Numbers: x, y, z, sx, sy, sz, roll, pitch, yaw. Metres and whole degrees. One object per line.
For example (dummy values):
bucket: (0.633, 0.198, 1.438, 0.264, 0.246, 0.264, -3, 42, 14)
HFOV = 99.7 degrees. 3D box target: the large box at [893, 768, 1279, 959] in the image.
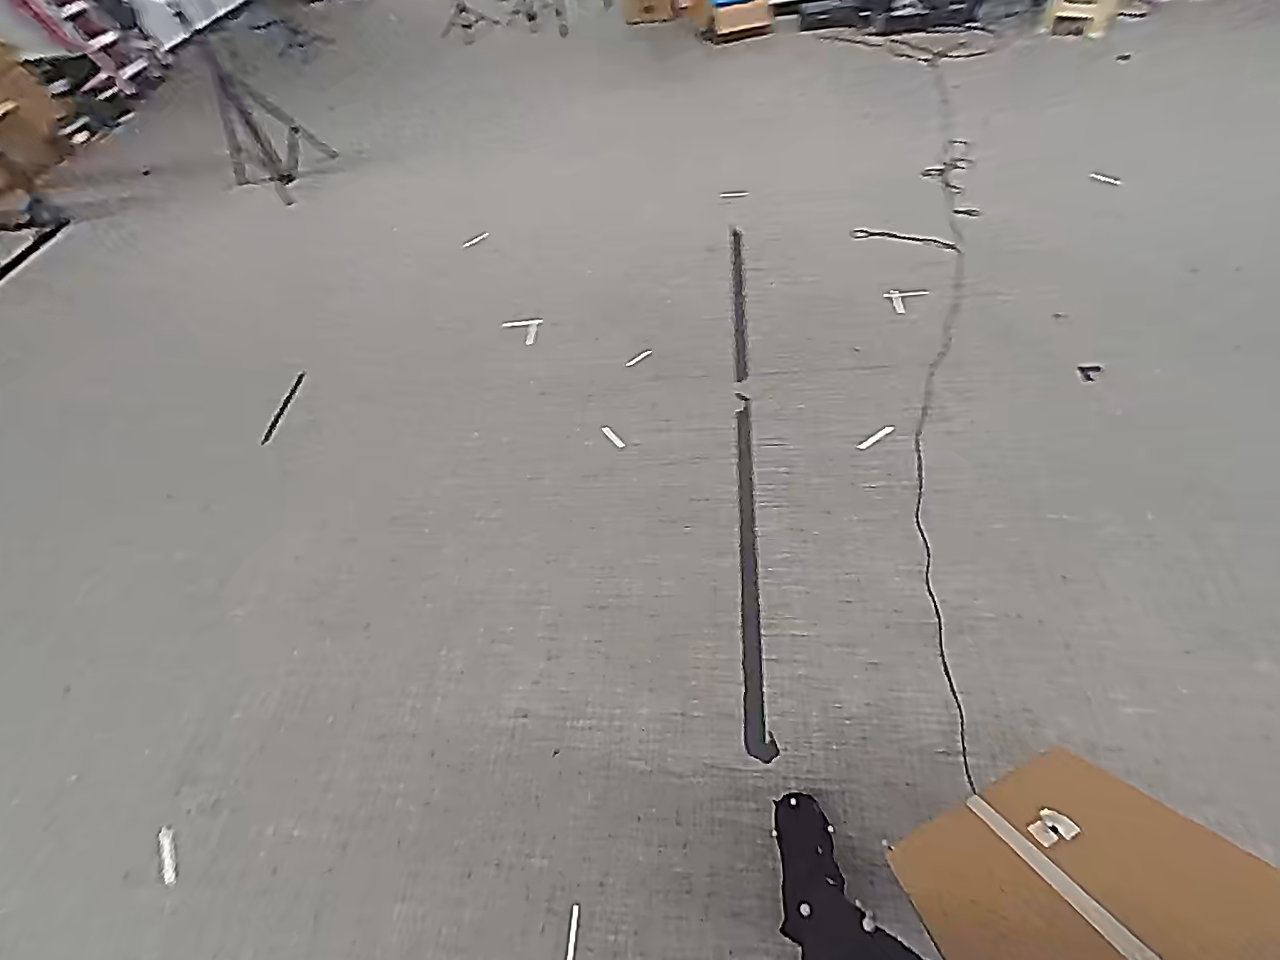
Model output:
large box: (0.565, 0.605, 0.591, 0.320, 0.408, 0.320, -30, 80, 2)
